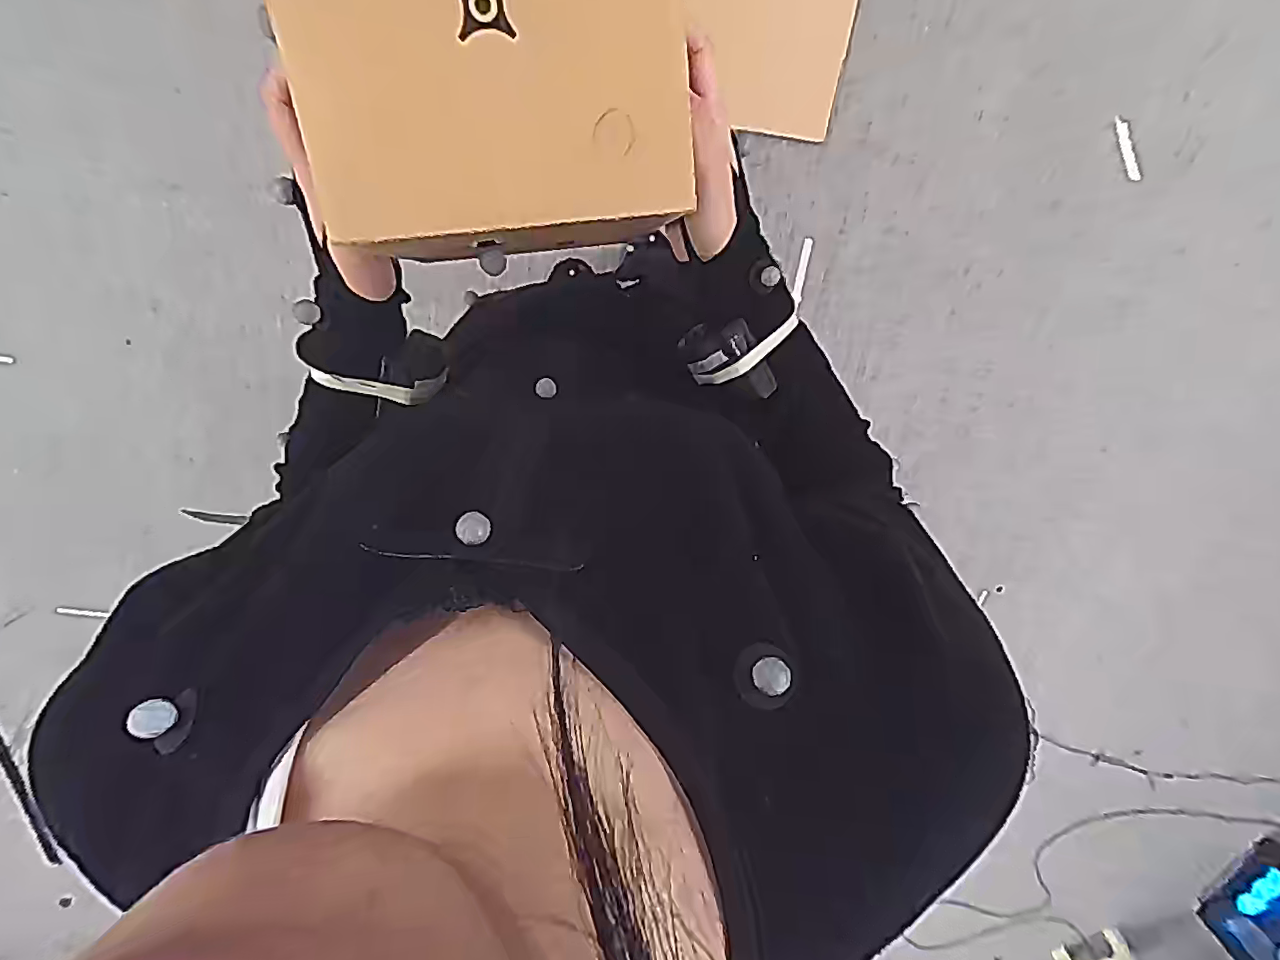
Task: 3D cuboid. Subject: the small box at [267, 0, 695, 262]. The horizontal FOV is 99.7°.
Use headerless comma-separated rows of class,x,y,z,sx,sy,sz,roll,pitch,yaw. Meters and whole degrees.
small box,-0.071,-0.217,0.289,0.168,0.176,0.179,-8,109,-5
